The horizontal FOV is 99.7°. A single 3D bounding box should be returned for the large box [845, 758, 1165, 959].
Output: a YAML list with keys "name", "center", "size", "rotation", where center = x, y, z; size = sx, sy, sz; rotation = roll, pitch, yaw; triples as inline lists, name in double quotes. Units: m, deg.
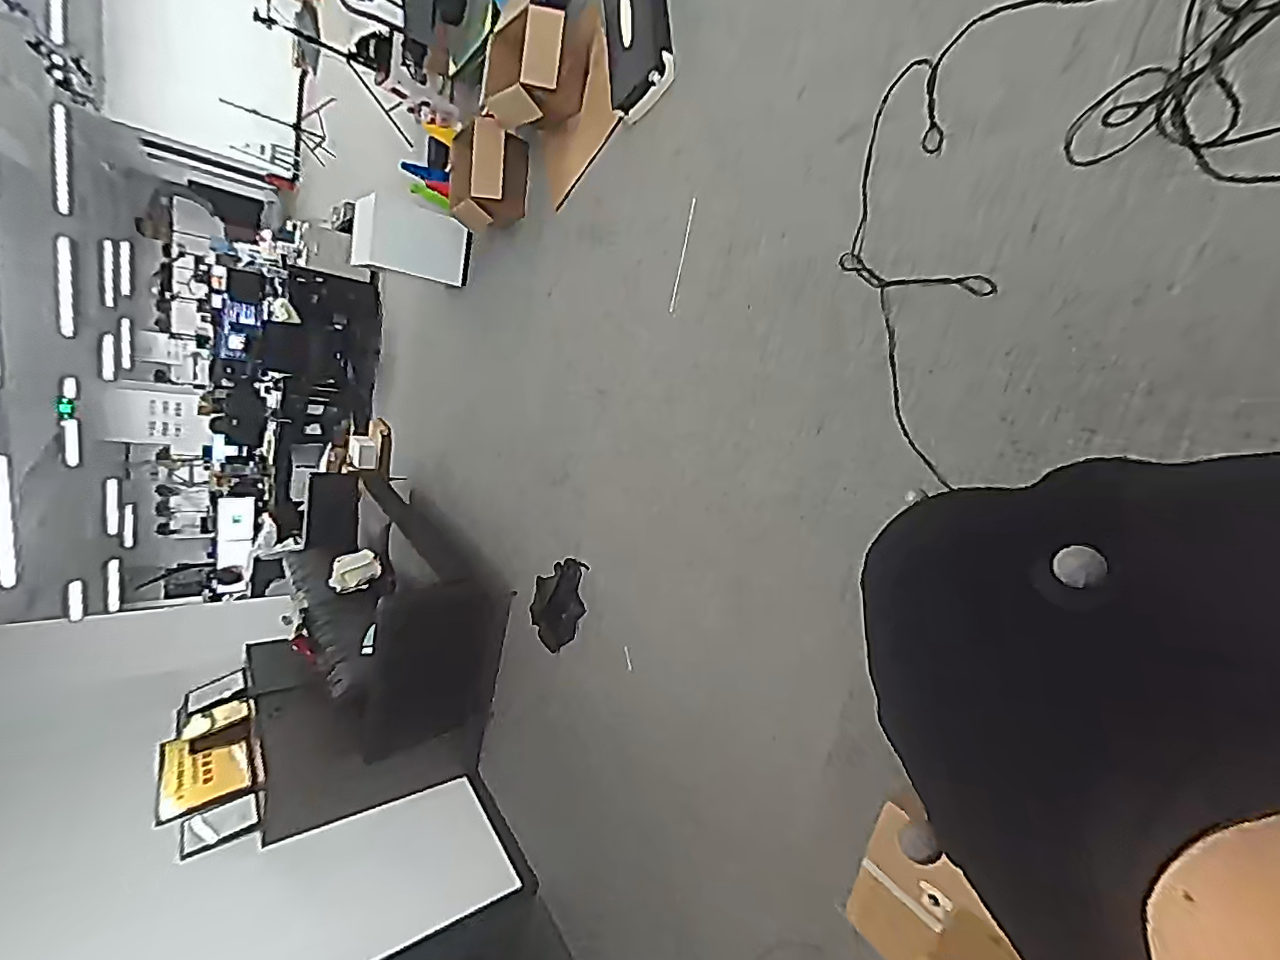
- name: "large box"
  center: [0.708, 0.855, 1.081]
  size: [0.408, 0.320, 0.320]
  rotation: [28, 110, 49]
